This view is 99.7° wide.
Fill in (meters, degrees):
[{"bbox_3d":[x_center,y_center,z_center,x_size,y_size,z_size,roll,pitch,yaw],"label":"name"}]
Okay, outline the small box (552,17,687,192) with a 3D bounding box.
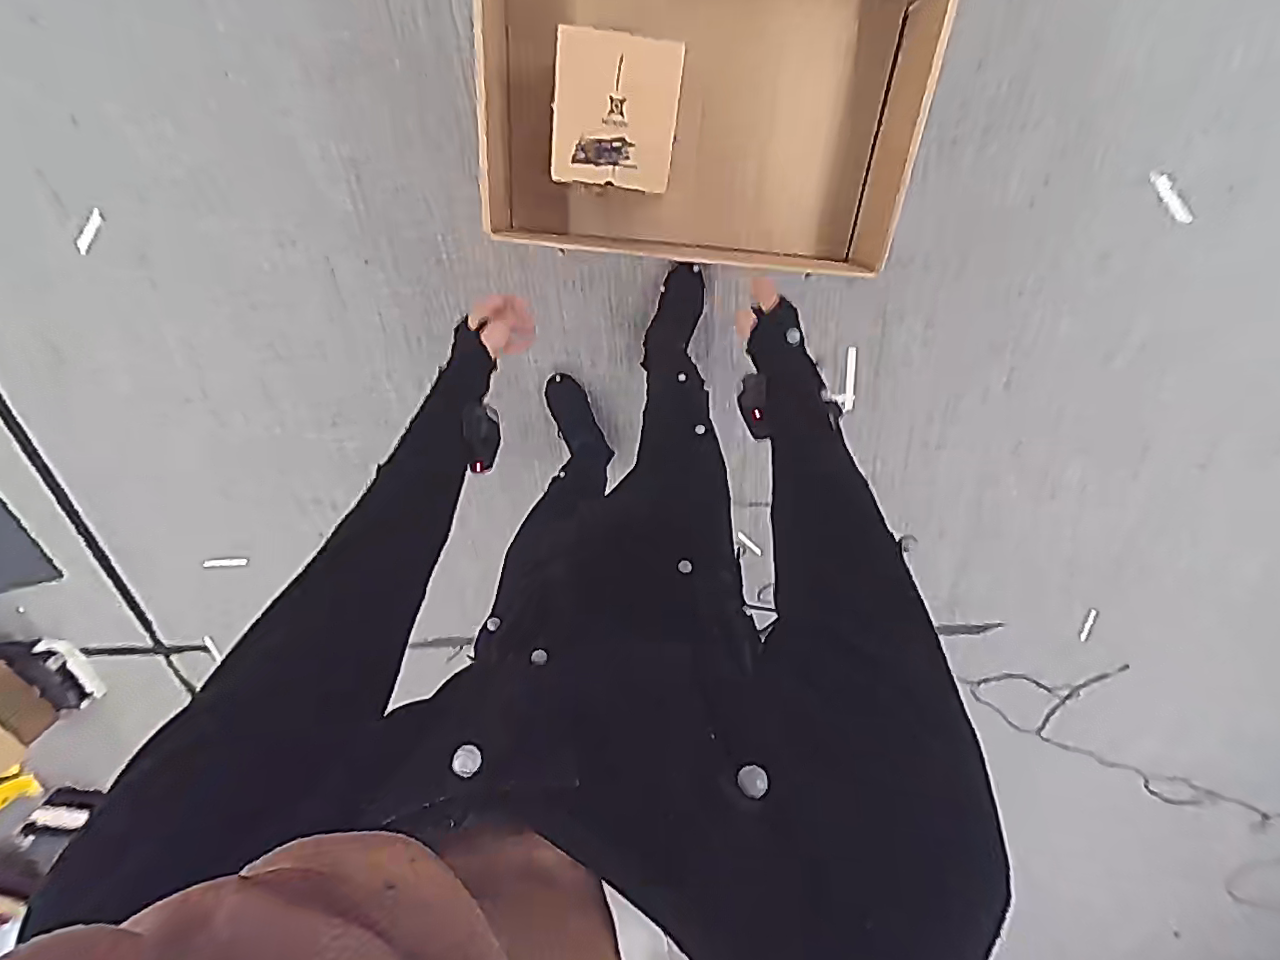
[{"bbox_3d":[-0.027,-0.530,0.791,0.168,0.176,0.179,8,116,-2],"label":"small box"}]
